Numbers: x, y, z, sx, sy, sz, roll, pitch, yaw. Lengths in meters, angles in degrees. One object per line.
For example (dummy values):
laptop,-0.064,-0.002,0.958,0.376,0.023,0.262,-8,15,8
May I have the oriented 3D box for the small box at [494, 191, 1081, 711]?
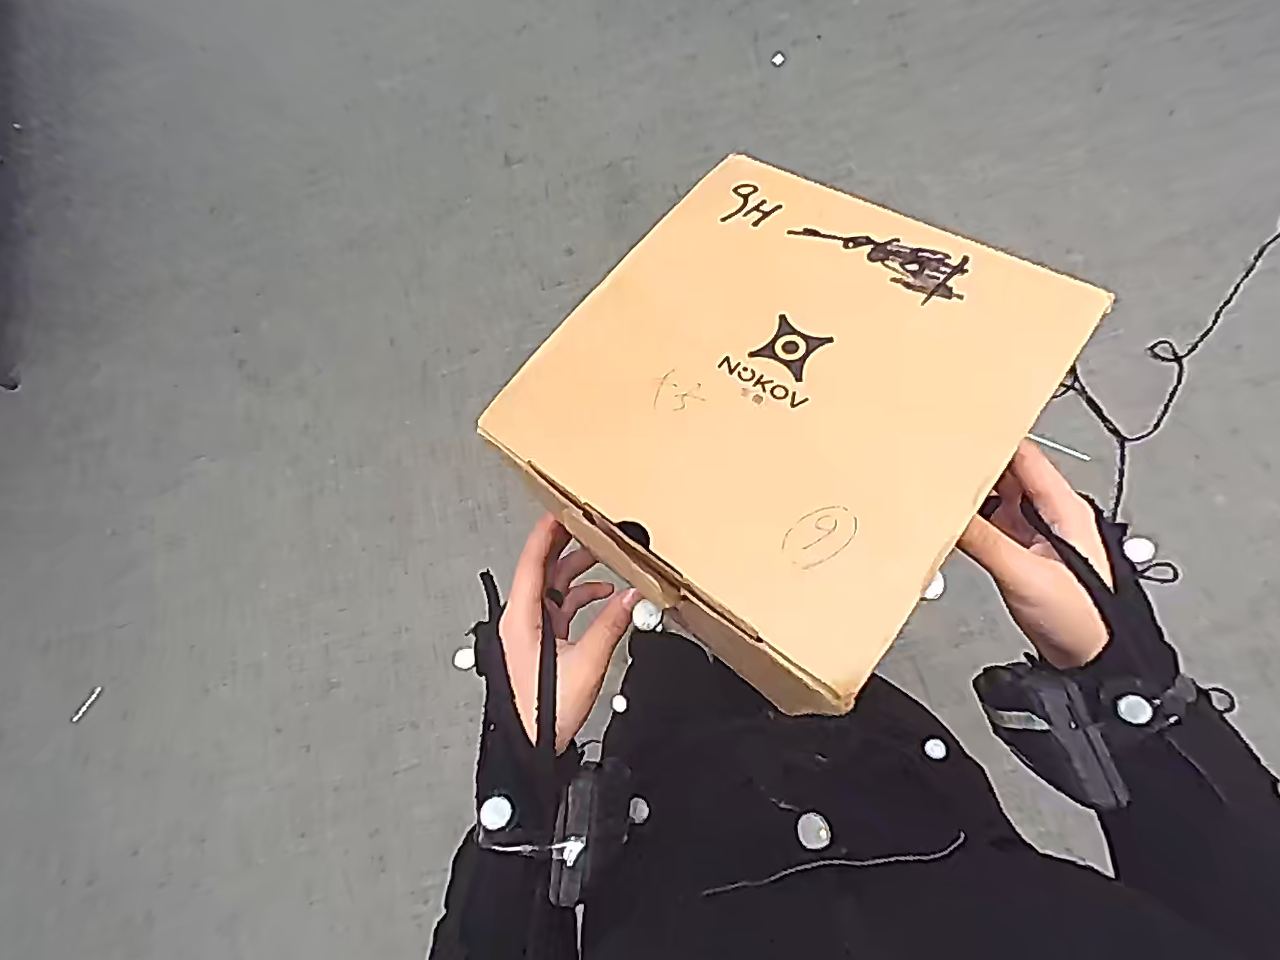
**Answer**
small box,0.066,-0.002,0.286,0.168,0.176,0.179,35,77,22
